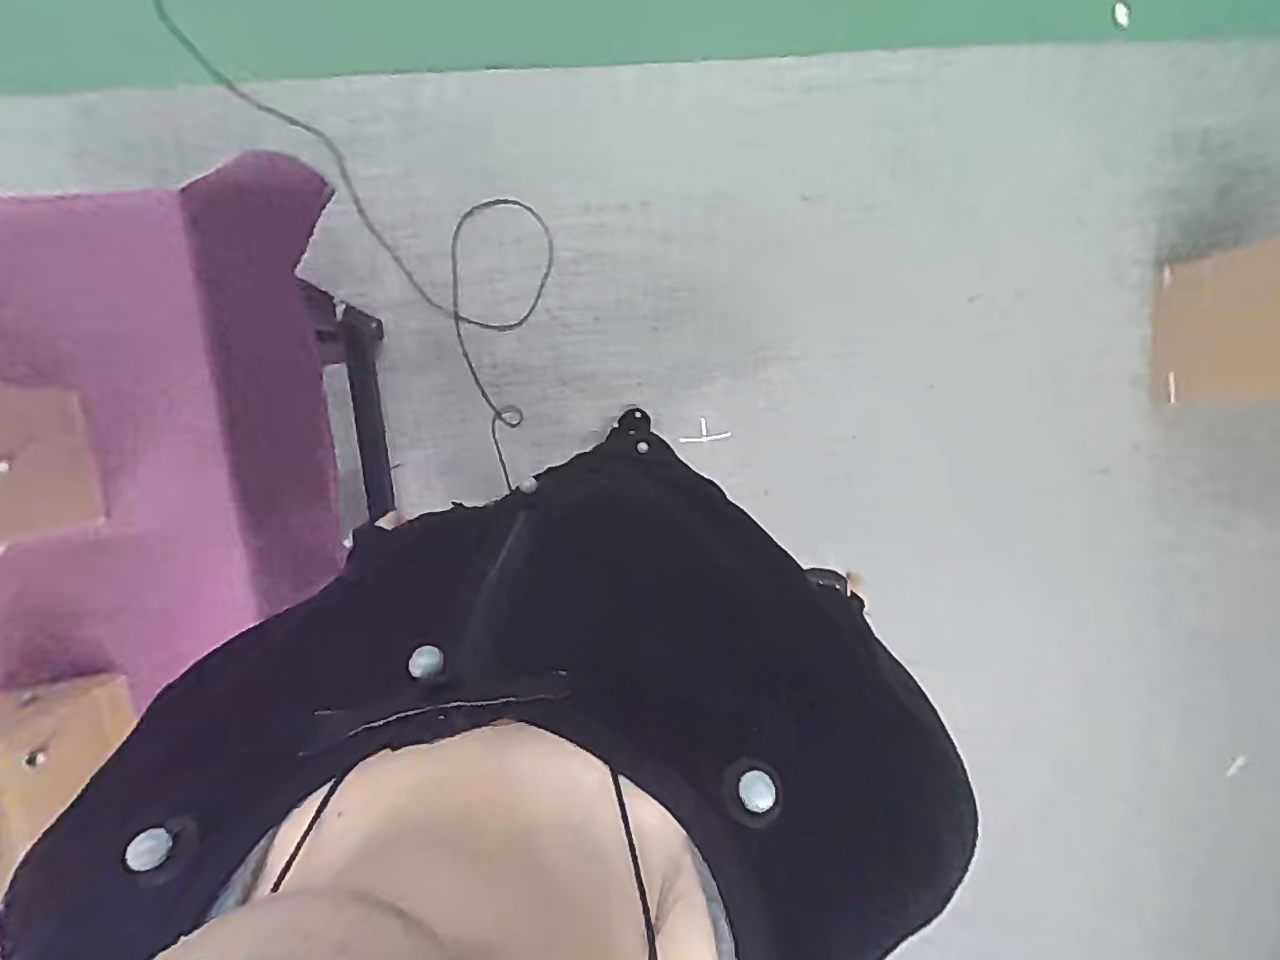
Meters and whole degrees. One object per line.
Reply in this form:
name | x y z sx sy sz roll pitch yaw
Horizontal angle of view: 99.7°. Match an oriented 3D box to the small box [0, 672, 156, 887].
small box | -0.756 0.367 0.666 0.168 0.176 0.179 -10 95 -4
